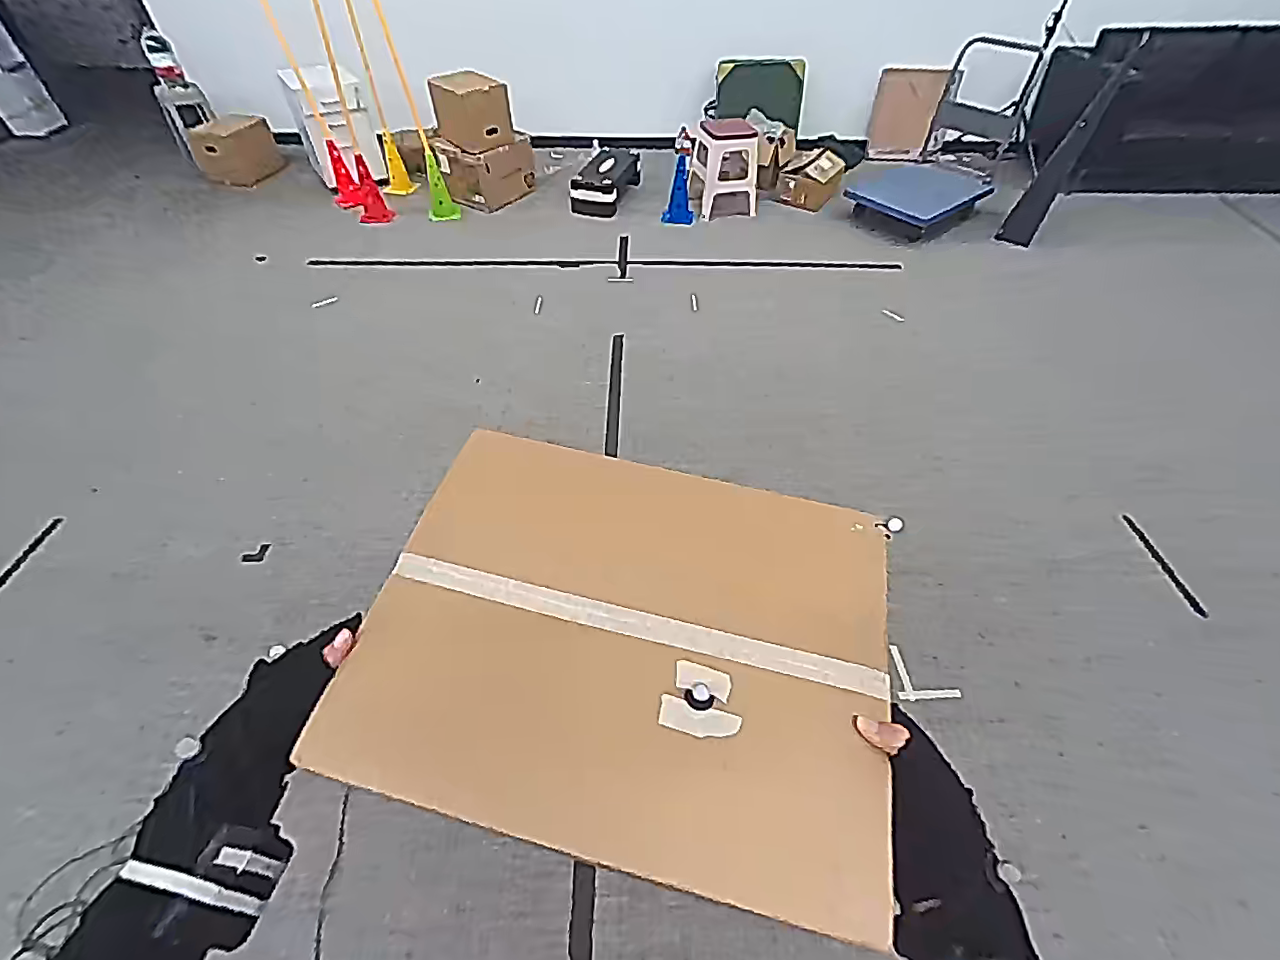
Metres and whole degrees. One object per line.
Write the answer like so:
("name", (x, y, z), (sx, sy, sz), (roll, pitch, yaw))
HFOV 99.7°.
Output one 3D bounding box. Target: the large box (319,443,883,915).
("large box", (-0.011, 0.205, 0.569), (0.408, 0.320, 0.320), (12, 55, 7))
